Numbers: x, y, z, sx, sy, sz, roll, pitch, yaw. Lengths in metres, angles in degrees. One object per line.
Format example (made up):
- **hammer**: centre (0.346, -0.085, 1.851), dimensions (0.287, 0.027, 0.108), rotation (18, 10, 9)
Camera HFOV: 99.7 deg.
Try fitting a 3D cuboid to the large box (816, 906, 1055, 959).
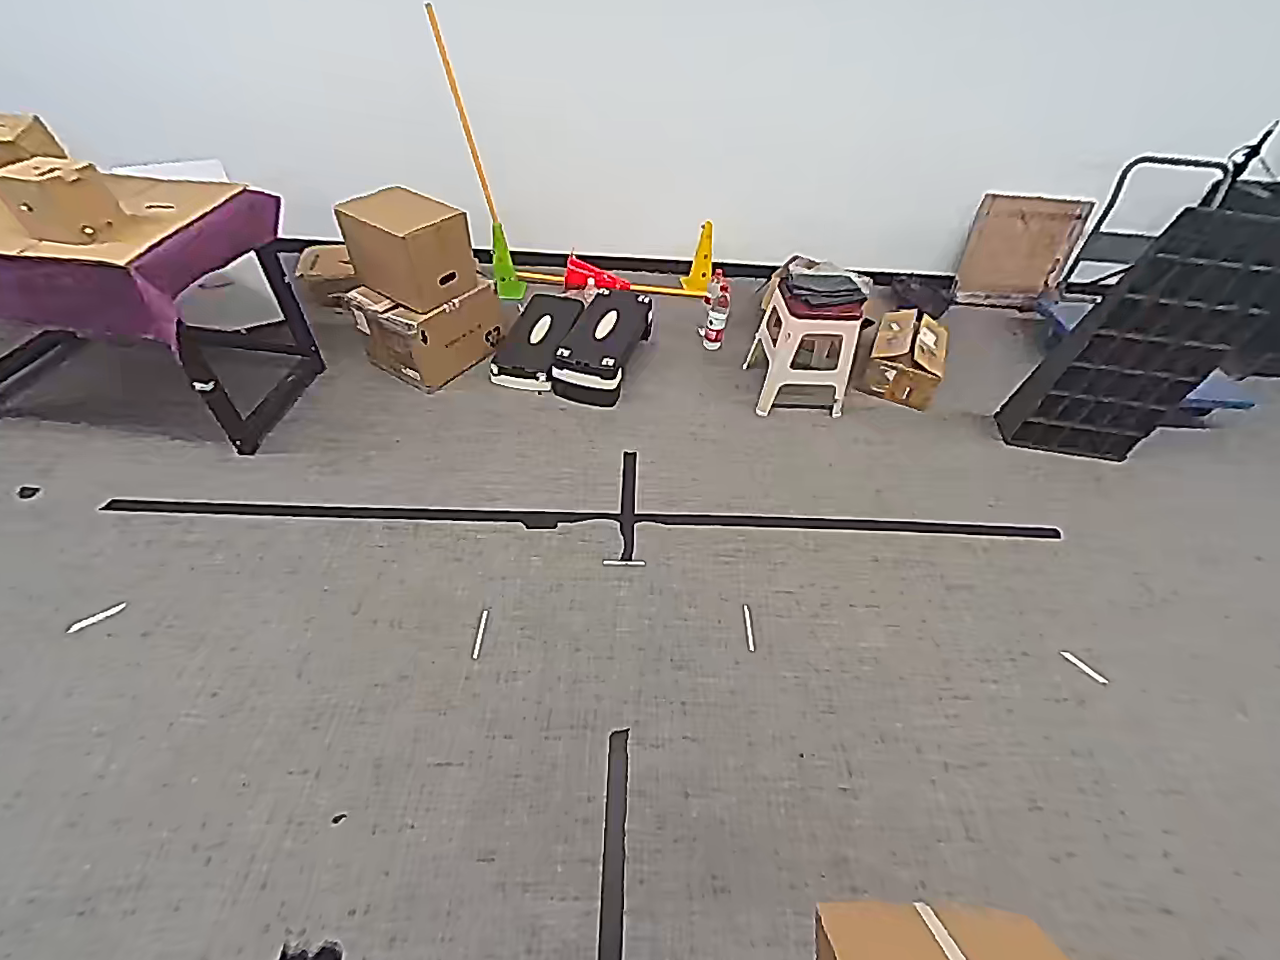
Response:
- **large box**: centre (0.401, 0.784, 0.599), dimensions (0.320, 0.408, 0.320), rotation (2, 86, 2)
